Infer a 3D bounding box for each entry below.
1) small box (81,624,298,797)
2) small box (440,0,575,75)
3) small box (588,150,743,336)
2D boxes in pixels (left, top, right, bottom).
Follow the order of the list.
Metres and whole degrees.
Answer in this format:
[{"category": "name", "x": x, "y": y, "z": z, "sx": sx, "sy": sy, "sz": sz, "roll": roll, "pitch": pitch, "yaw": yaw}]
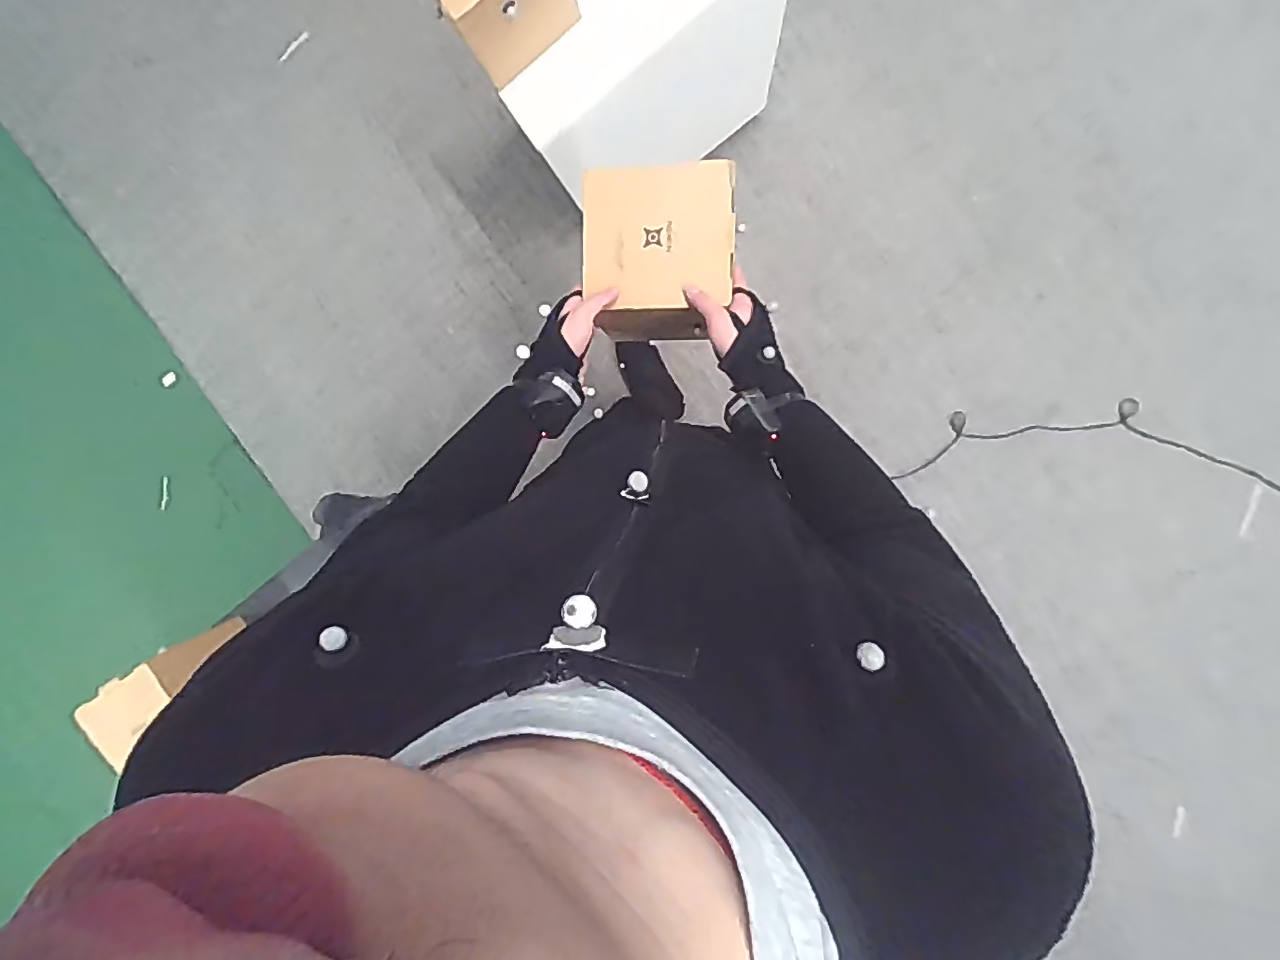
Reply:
[{"category": "small box", "x": -0.717, "y": 0.358, "z": 0.880, "sx": 0.168, "sy": 0.176, "sz": 0.179, "roll": -32, "pitch": 96, "yaw": 11}, {"category": "small box", "x": -0.212, "y": -0.729, "z": 0.754, "sx": 0.179, "sy": 0.176, "sz": 0.168, "roll": -35, "pitch": 95, "yaw": 9}, {"category": "small box", "x": 0.038, "y": -0.284, "z": 0.686, "sx": 0.179, "sy": 0.176, "sz": 0.168, "roll": 0, "pitch": 92, "yaw": 9}]
